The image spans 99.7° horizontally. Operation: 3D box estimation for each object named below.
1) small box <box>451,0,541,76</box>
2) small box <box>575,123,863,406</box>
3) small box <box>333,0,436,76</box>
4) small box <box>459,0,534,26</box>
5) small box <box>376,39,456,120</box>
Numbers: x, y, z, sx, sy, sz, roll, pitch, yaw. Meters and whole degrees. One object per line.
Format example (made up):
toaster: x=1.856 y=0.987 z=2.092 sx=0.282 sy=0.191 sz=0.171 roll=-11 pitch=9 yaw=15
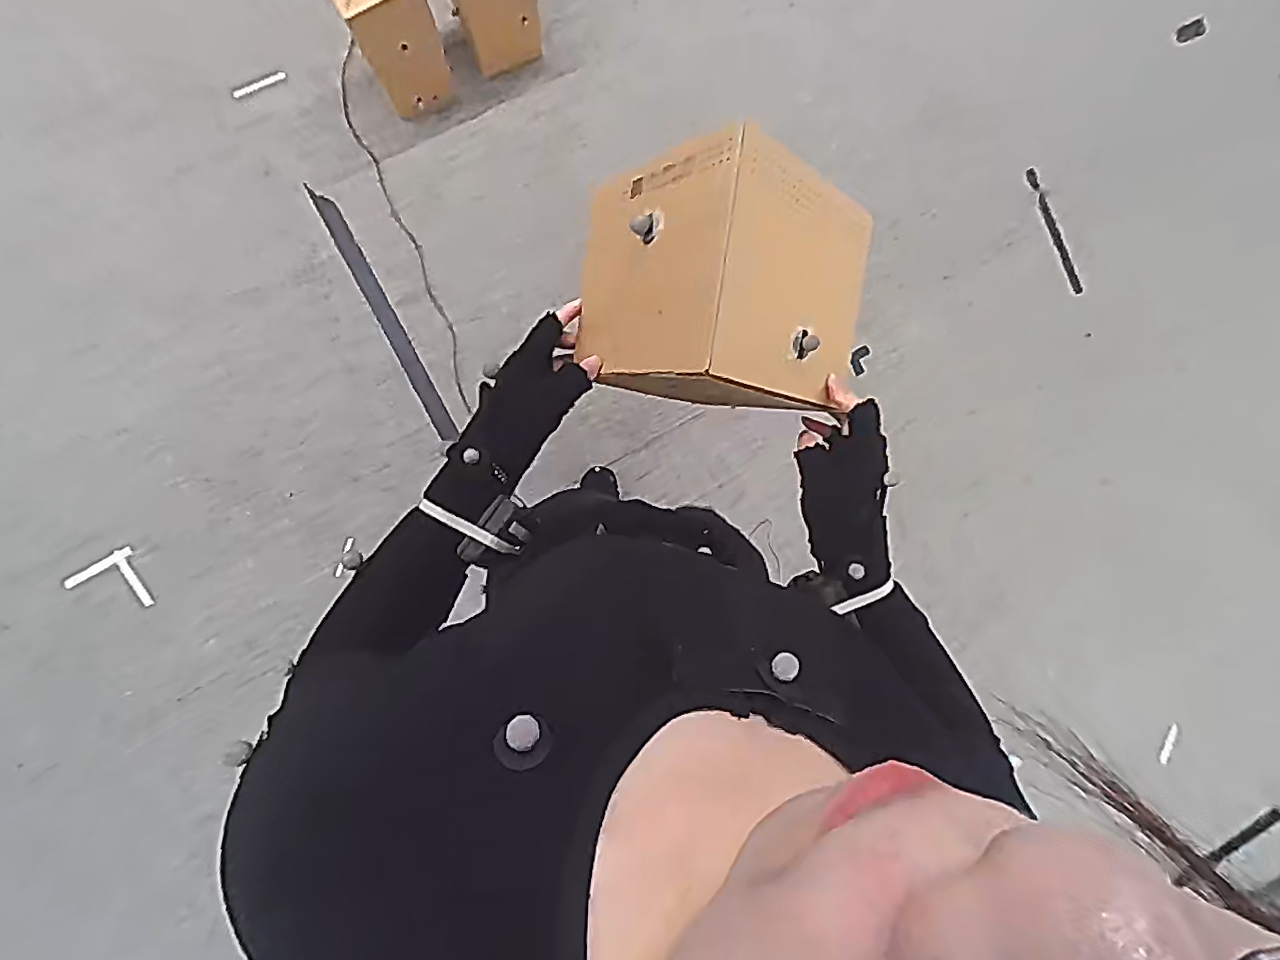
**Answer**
small box: x=-0.362 y=-1.164 z=1.349 sx=0.179 sy=0.176 sz=0.168 roll=-26 pitch=94 yaw=-6
small box: x=0.069 y=-0.163 z=0.466 sx=0.179 sy=0.168 sz=0.176 roll=5 pitch=95 yaw=-41
small box: x=-0.561 y=-1.032 z=1.164 sx=0.179 sy=0.176 sz=0.168 roll=-29 pitch=94 yaw=-5
small box: x=-0.342 y=-1.158 z=1.186 sx=0.179 sy=0.176 sz=0.168 roll=-27 pitch=94 yaw=-7
small box: x=-0.580 y=-1.041 z=1.326 sx=0.168 sy=0.176 sz=0.179 roll=-28 pitch=95 yaw=-4
